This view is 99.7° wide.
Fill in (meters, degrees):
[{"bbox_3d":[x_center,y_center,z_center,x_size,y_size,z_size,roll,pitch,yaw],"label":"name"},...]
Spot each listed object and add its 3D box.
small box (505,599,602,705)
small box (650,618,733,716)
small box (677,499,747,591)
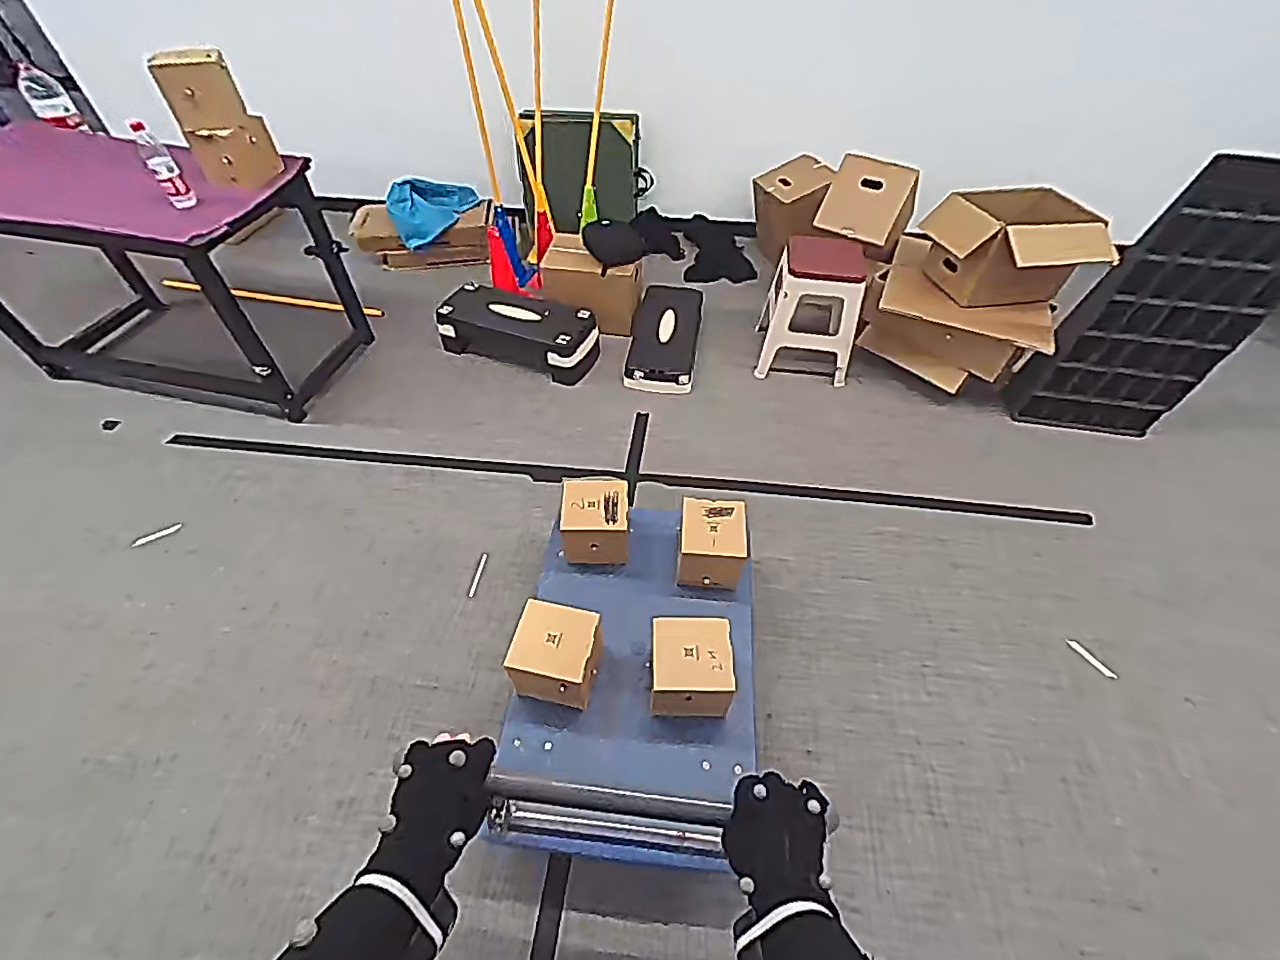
[{"bbox_3d":[-0.193,0.404,1.260,0.179,0.176,0.168,11,50,6],"label":"small box"},{"bbox_3d":[0.112,0.432,1.243,0.179,0.176,0.168,2,50,0],"label":"small box"},{"bbox_3d":[0.190,0.176,1.461,0.168,0.176,0.179,5,51,2],"label":"small box"}]
